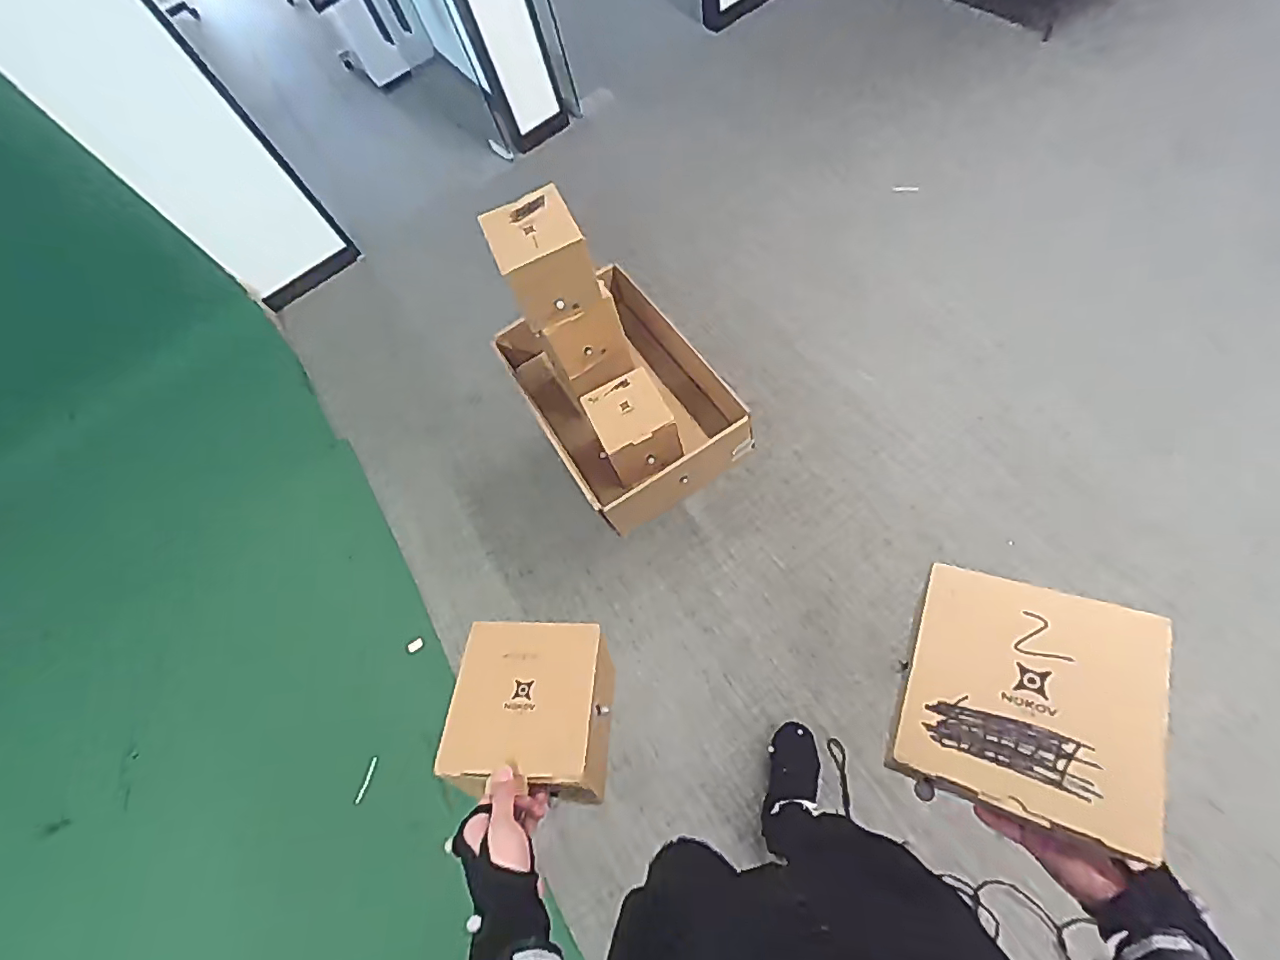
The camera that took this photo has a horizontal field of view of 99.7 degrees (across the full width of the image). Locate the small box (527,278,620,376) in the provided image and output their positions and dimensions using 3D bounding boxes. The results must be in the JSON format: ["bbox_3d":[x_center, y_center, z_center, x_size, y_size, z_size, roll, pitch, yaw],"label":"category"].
[{"bbox_3d":[-0.168,-0.372,1.234,0.168,0.176,0.179,-34,65,-6],"label":"small box"}]

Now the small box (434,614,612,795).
[{"bbox_3d":[-0.131,0.289,0.690,0.168,0.176,0.179,1,51,6],"label":"small box"}]

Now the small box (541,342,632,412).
[{"bbox_3d":[-0.141,-0.308,1.380,0.168,0.176,0.179,-34,64,-4],"label":"small box"}]

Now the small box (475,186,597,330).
[{"bbox_3d":[-0.203,-0.440,1.088,0.168,0.176,0.179,-25,65,-1],"label":"small box"}]
